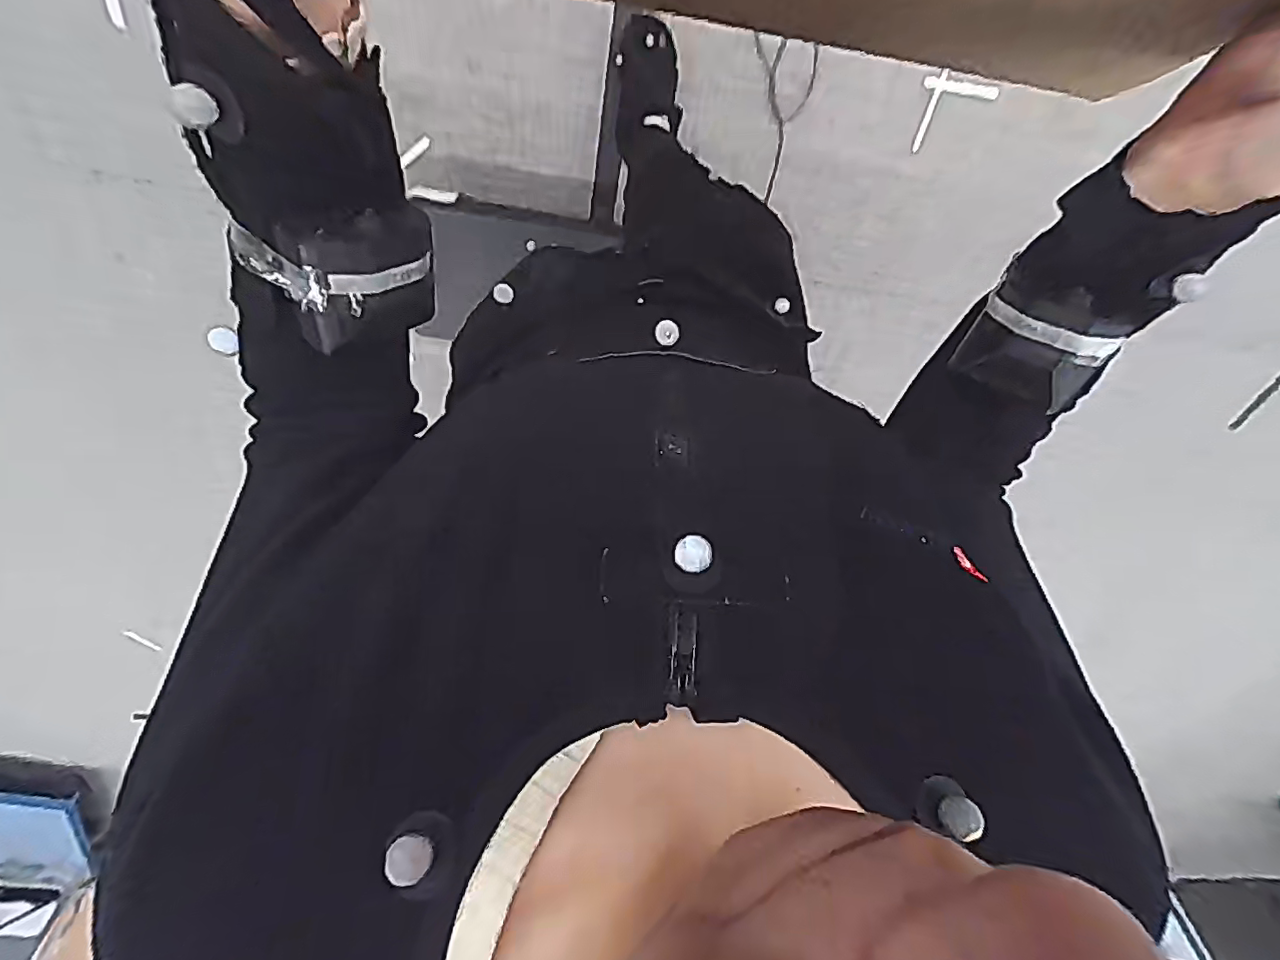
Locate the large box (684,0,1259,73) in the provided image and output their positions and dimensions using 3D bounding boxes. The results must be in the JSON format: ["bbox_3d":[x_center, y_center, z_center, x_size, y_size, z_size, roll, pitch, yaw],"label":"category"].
[{"bbox_3d":[0.092,-0.349,0.099,0.408,0.320,0.320,3,105,-8],"label":"large box"}]
